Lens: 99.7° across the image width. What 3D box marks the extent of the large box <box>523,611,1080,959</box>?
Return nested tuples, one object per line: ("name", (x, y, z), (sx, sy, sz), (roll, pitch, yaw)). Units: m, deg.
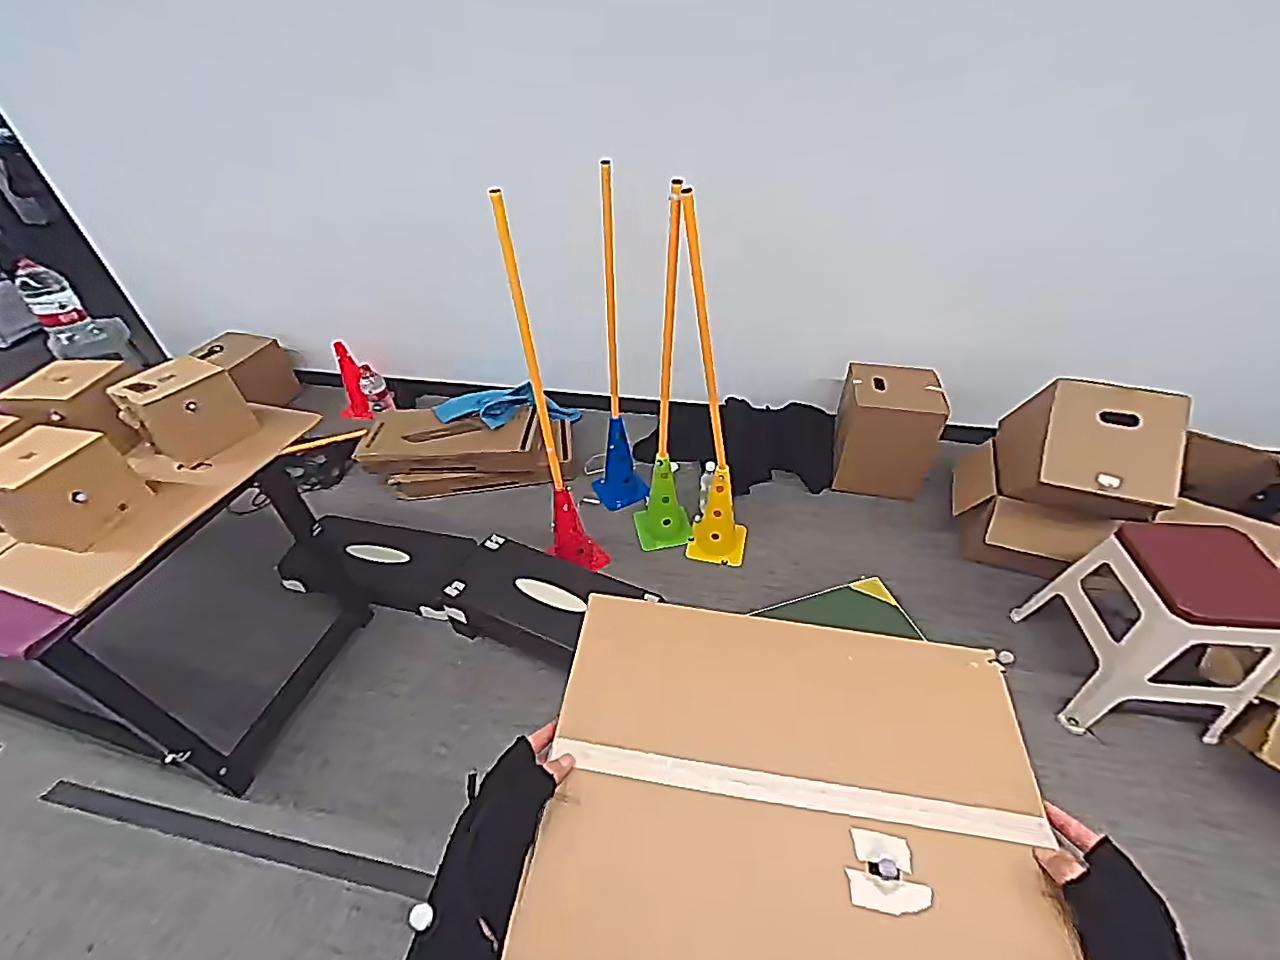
("large box", (0.126, 0.370, 0.562), (0.408, 0.320, 0.320), (7, 48, 5))
